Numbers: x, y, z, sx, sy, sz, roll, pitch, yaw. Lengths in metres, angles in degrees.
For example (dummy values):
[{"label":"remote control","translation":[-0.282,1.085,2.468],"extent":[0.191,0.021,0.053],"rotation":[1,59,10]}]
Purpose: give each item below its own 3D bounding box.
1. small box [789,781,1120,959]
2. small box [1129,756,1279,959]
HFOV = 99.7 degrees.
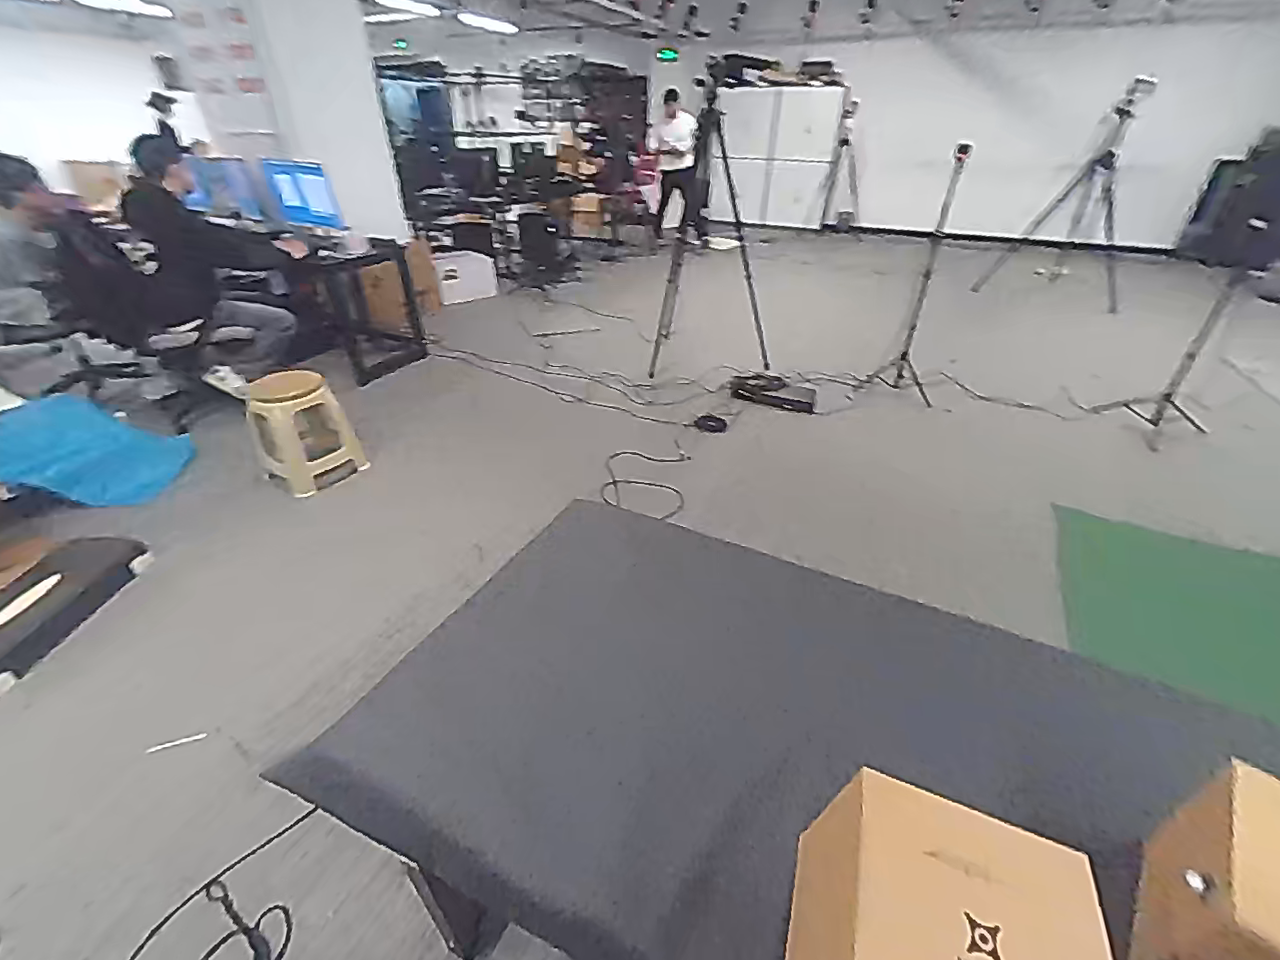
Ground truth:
[{"label":"small box","translation":[0.212,0.366,0.391],"extent":[0.168,0.176,0.179],"rotation":[17,40,10]},{"label":"small box","translation":[0.572,0.397,0.470],"extent":[0.168,0.176,0.179],"rotation":[26,42,34]}]
